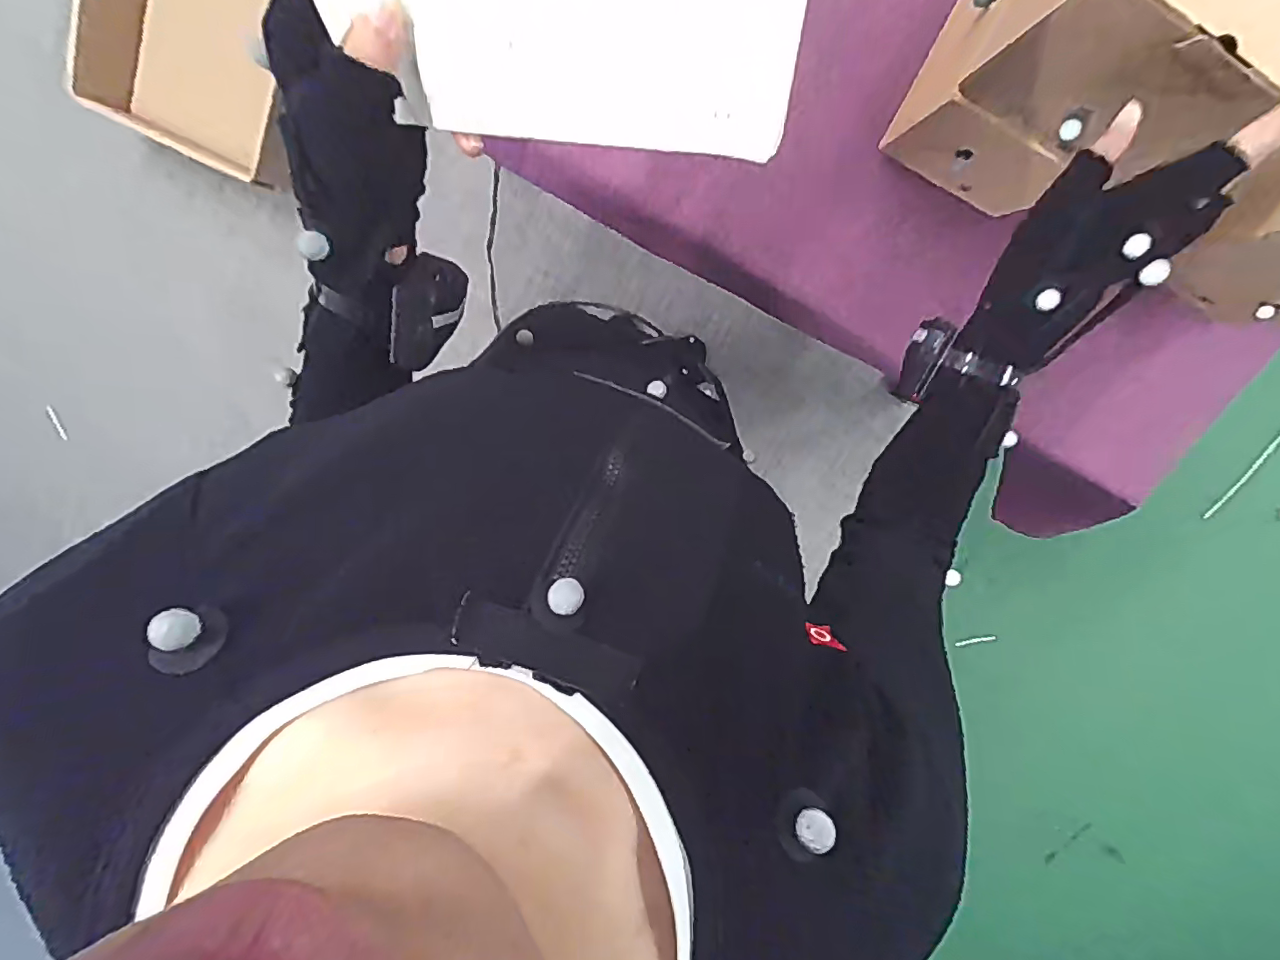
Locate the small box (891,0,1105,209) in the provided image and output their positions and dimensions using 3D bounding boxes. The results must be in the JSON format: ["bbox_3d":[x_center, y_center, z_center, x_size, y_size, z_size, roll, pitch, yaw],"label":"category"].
[{"bbox_3d":[0.377,-0.394,0.526,0.168,0.176,0.179,25,106,-6],"label":"small box"}]

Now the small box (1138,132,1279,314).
[{"bbox_3d":[0.678,-0.283,0.552,0.168,0.176,0.179,28,106,-8],"label":"small box"}]

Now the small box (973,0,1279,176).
[{"bbox_3d":[0.379,-0.348,0.367,0.168,0.176,0.179,28,106,-7],"label":"small box"}]
